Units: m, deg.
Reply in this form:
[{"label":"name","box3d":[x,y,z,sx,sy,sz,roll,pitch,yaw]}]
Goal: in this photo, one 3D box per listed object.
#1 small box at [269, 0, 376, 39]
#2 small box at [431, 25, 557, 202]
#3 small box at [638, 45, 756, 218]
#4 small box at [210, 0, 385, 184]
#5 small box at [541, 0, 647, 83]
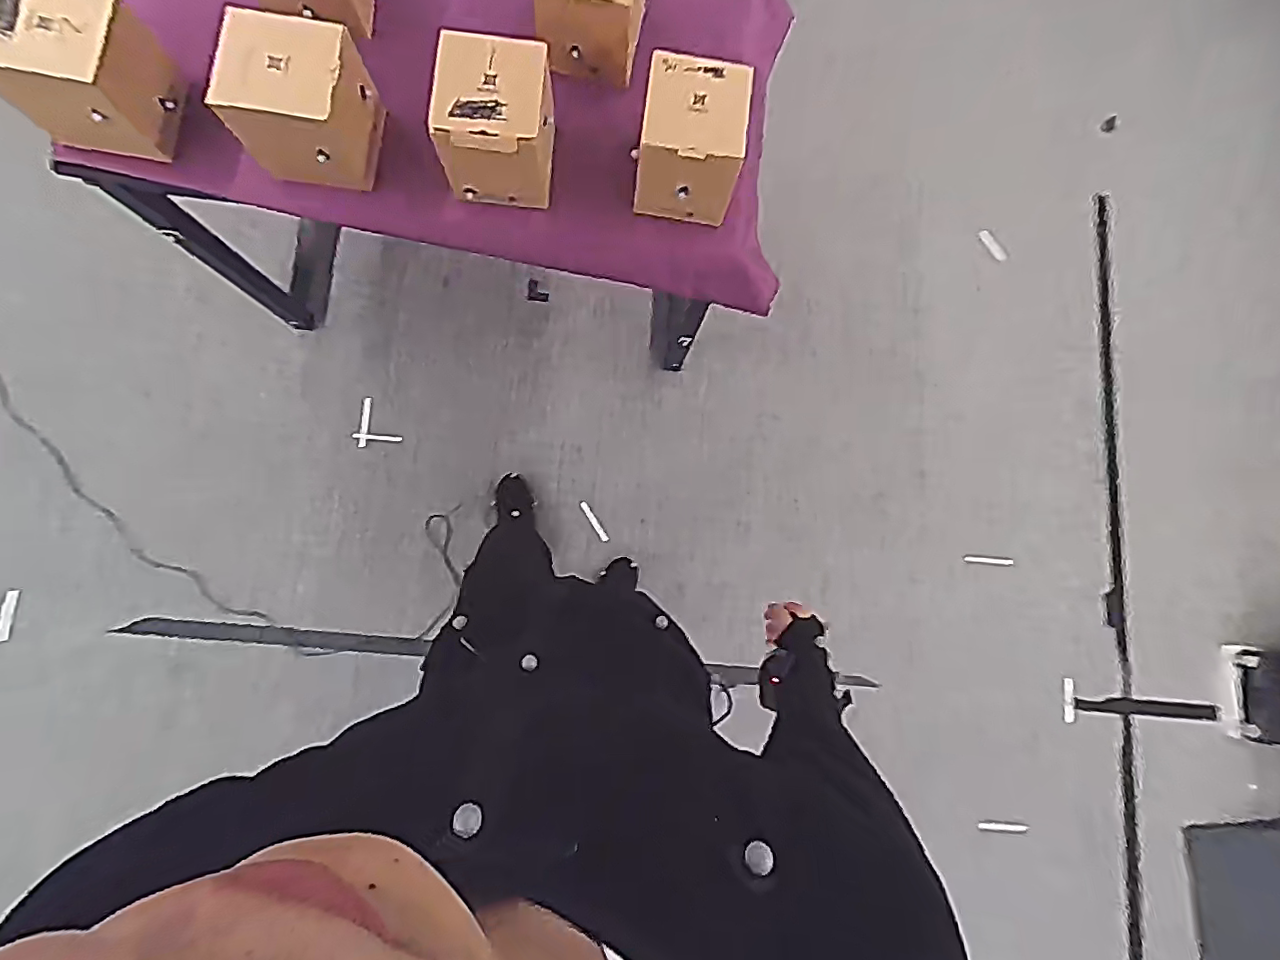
[{"label":"small box","box3d":[-0.561,-0.909,0.918,0.168,0.176,0.179,3,83,-4]},{"label":"small box","box3d":[-0.232,-0.599,0.904,0.168,0.176,0.179,4,82,-4]},{"label":"small box","box3d":[0.089,-0.582,0.925,0.168,0.176,0.179,8,81,-3]},{"label":"small box","box3d":[-0.541,-0.617,0.883,0.179,0.176,0.168,6,82,-4]},{"label":"small box","box3d":[-0.077,-0.859,0.950,0.168,0.176,0.179,12,84,-2]}]
